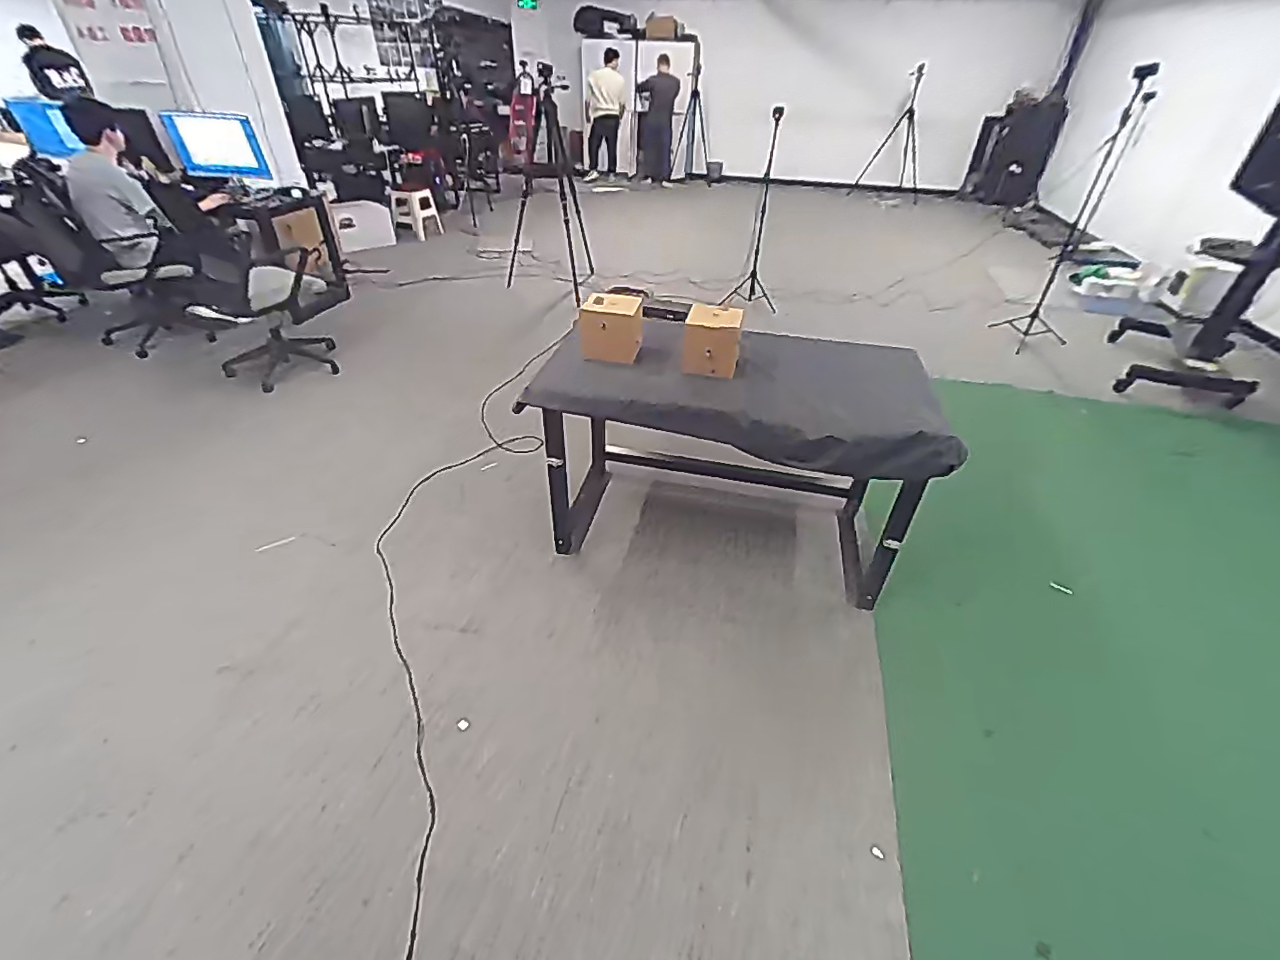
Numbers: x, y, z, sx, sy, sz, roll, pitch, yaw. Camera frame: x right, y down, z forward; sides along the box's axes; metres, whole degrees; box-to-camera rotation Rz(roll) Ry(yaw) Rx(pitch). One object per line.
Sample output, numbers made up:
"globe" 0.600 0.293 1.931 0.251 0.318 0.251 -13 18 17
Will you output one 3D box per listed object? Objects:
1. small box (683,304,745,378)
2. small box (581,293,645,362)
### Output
"small box" 0.234 -0.441 1.719 0.168 0.176 0.179 10 38 10
"small box" -0.087 -0.500 1.777 0.179 0.176 0.168 9 38 7
